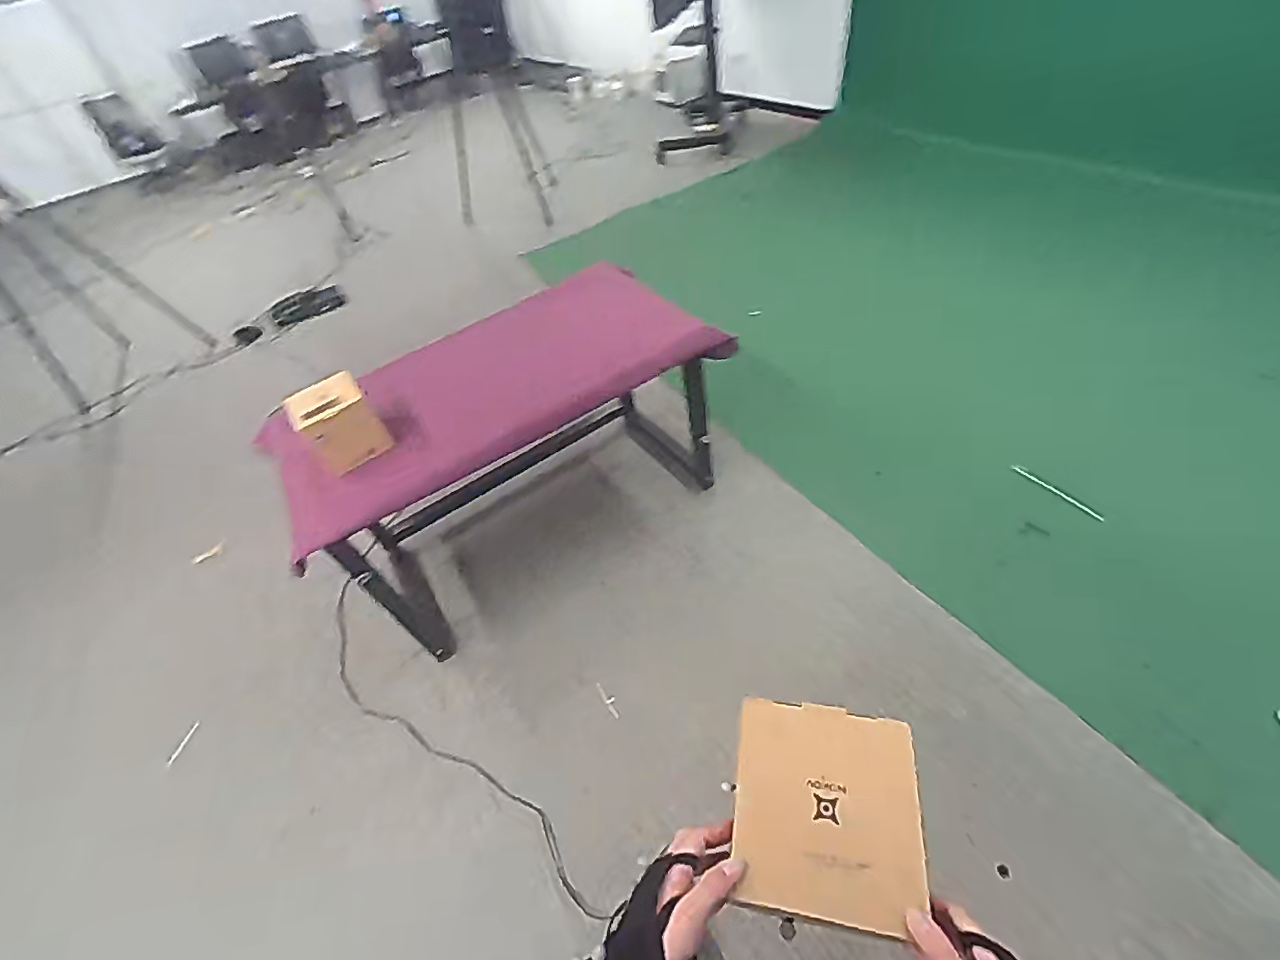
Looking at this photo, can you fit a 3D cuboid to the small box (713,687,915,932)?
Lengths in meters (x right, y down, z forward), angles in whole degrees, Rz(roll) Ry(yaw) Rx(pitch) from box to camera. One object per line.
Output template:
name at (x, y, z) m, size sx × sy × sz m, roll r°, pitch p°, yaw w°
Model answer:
small box at (0.167, 0.344, 0.567) m, size 0.168 × 0.176 × 0.179 m, roll 5°, pitch 52°, yaw 11°
